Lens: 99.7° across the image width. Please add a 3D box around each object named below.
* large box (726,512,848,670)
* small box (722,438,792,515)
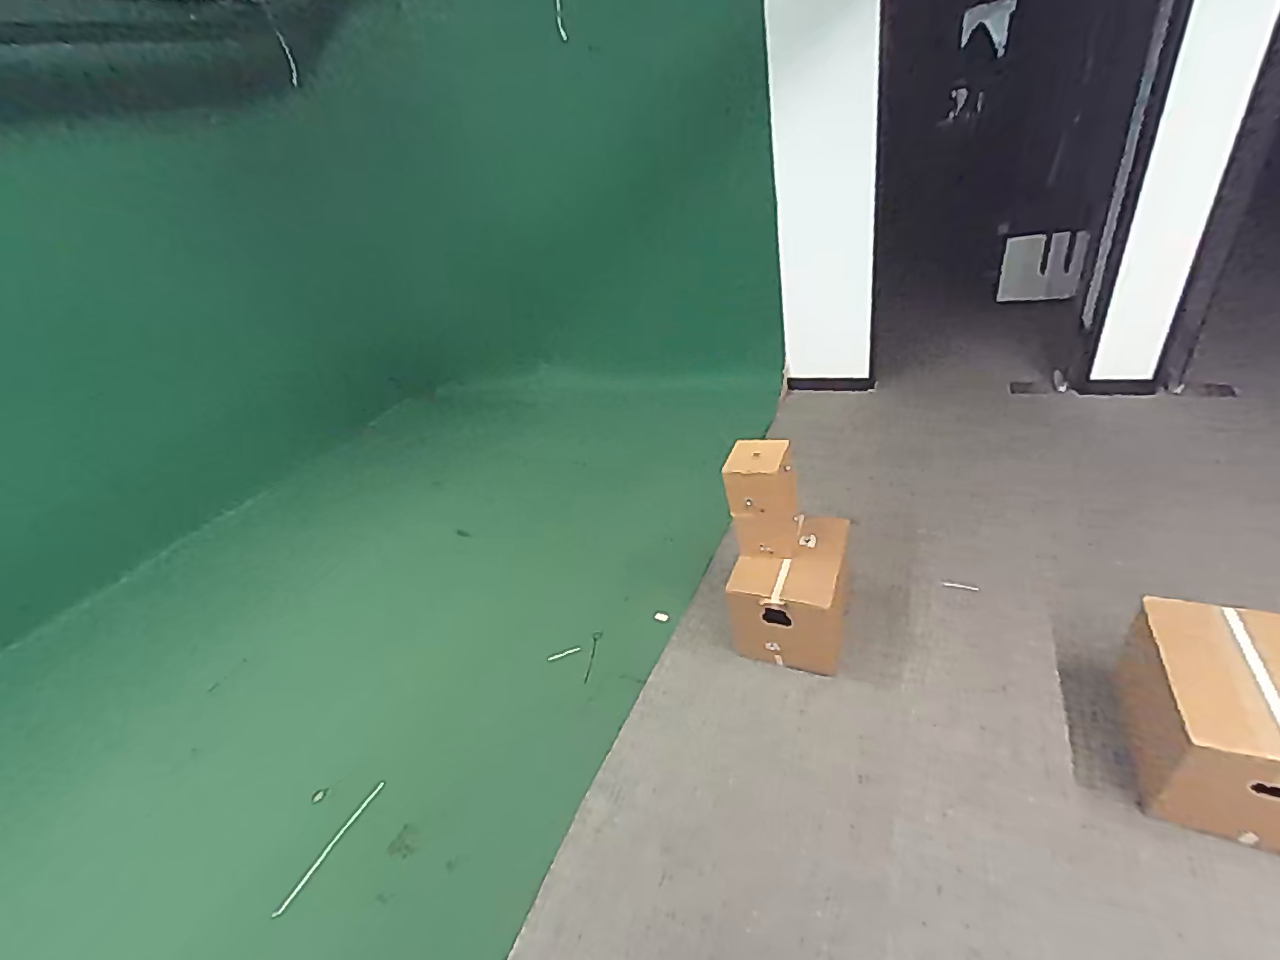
[{"bbox_3d":[0.507,0.355,1.806,0.320,0.320,0.408,5,37,27],"label":"large box"},{"bbox_3d":[0.366,-0.014,1.662,0.168,0.176,0.179,2,38,29],"label":"small box"}]
